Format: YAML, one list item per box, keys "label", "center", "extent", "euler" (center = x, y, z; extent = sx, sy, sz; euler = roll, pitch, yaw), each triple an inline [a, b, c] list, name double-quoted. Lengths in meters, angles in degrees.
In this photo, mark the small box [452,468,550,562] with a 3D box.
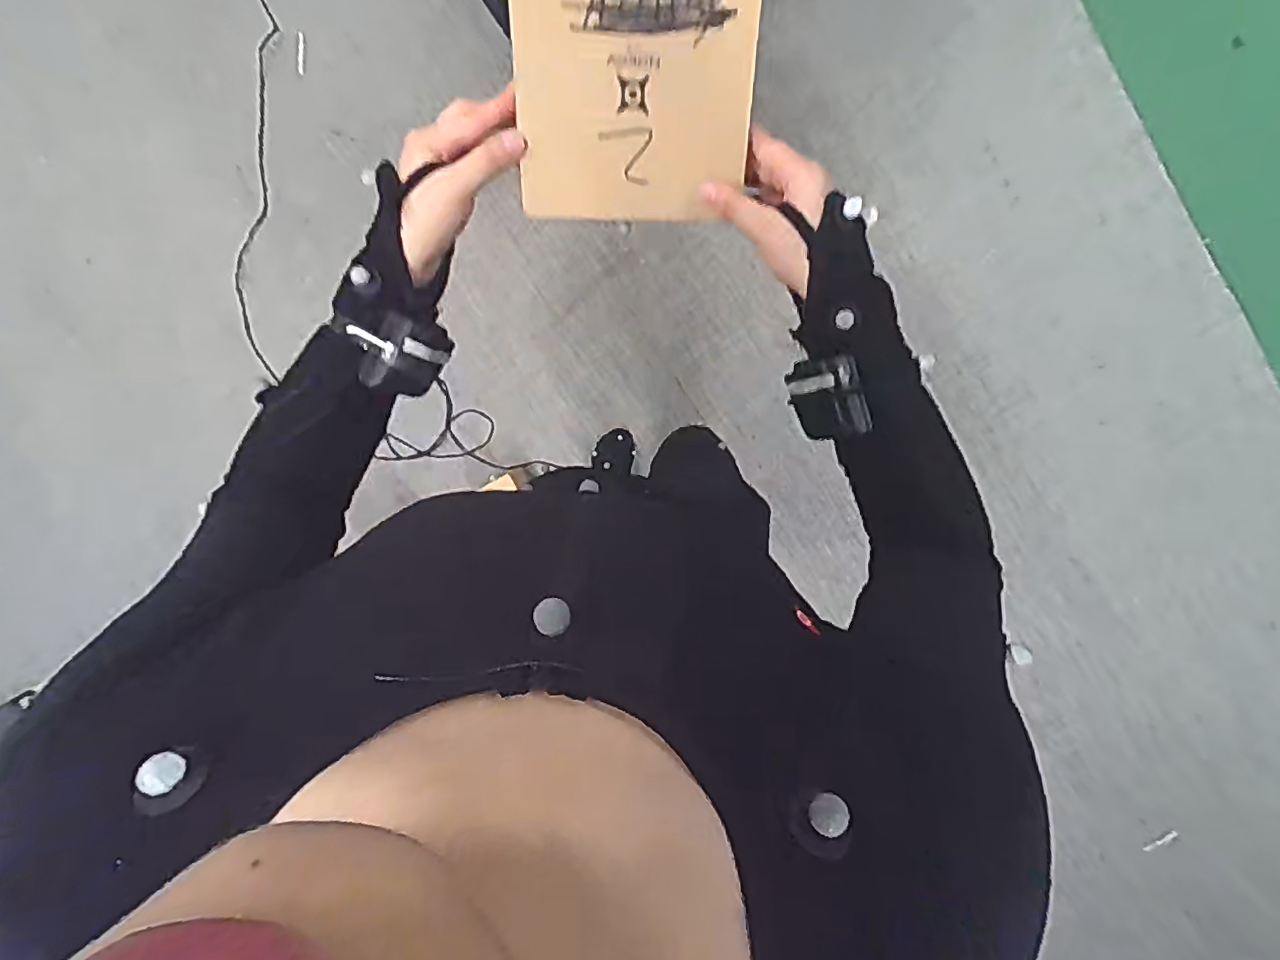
- label: "small box"
  center: [-0.355, 0.085, 1.421]
  extent: [0.168, 0.176, 0.179]
  euler: [-29, 96, 3]
